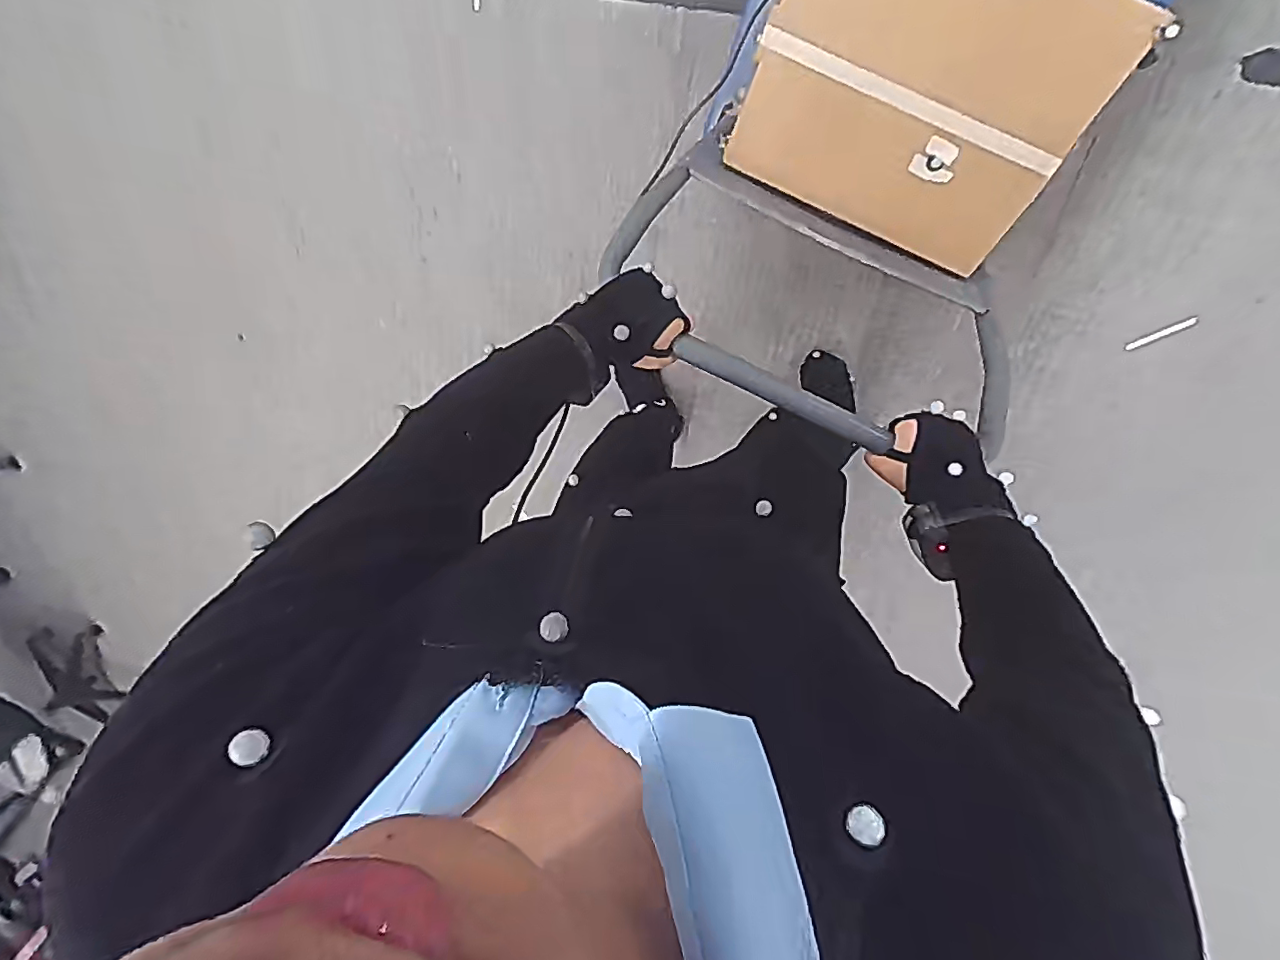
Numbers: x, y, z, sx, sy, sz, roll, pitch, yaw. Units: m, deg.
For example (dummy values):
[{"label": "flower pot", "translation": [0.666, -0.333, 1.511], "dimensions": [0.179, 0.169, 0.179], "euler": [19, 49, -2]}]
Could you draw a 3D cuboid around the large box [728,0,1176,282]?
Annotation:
[{"label": "large box", "translation": [0.392, -0.559, 0.790], "dimensions": [0.408, 0.320, 0.320], "euler": [26, 135, 0]}]
